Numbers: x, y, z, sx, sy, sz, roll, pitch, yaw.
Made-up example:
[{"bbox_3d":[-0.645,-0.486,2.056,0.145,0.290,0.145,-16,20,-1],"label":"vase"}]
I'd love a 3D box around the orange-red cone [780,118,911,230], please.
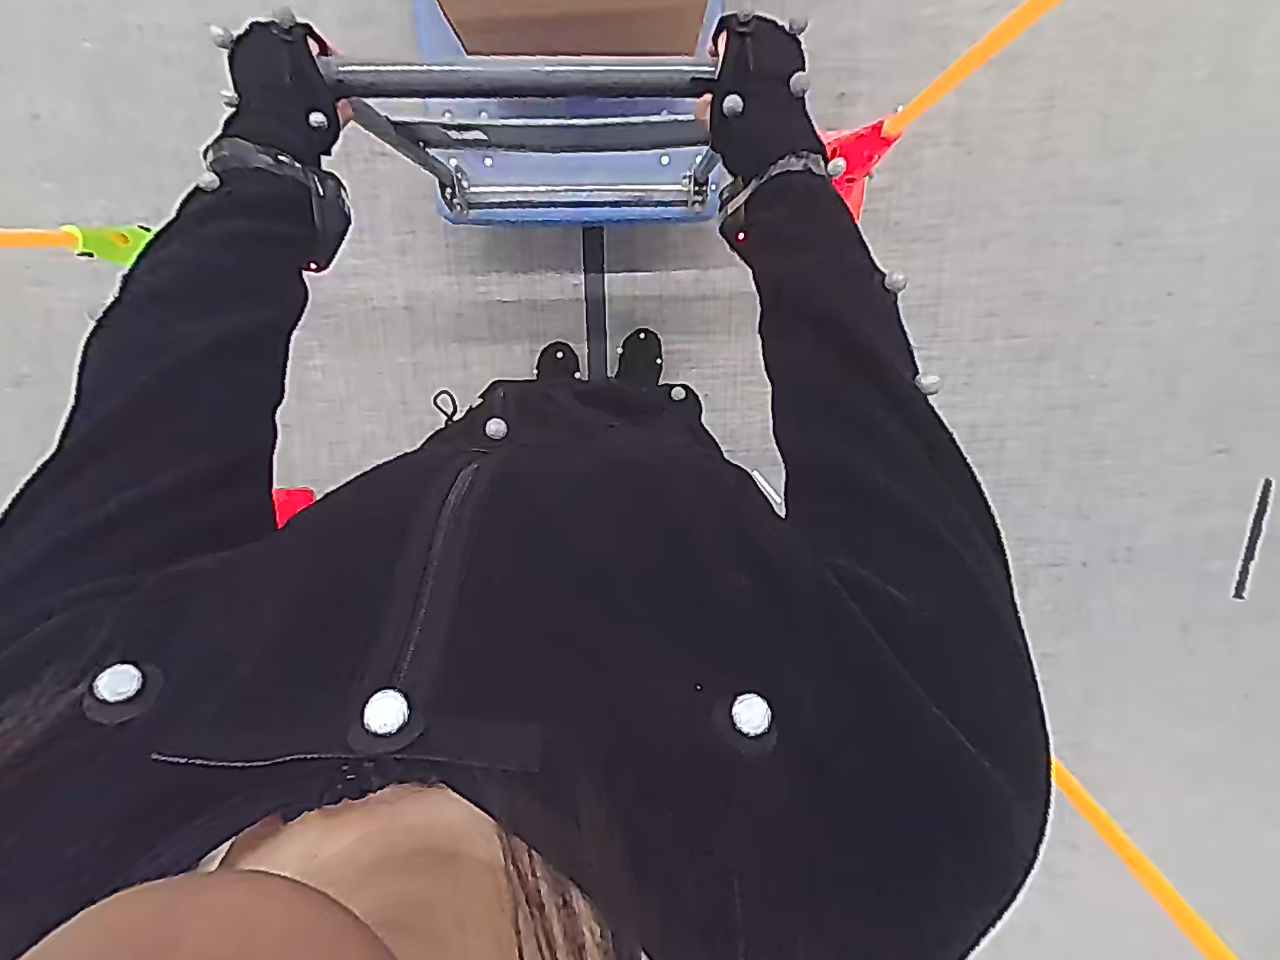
[{"bbox_3d":[0.438,-0.643,1.082,0.199,0.360,0.198,4,106,-4],"label":"orange-red cone"}]
